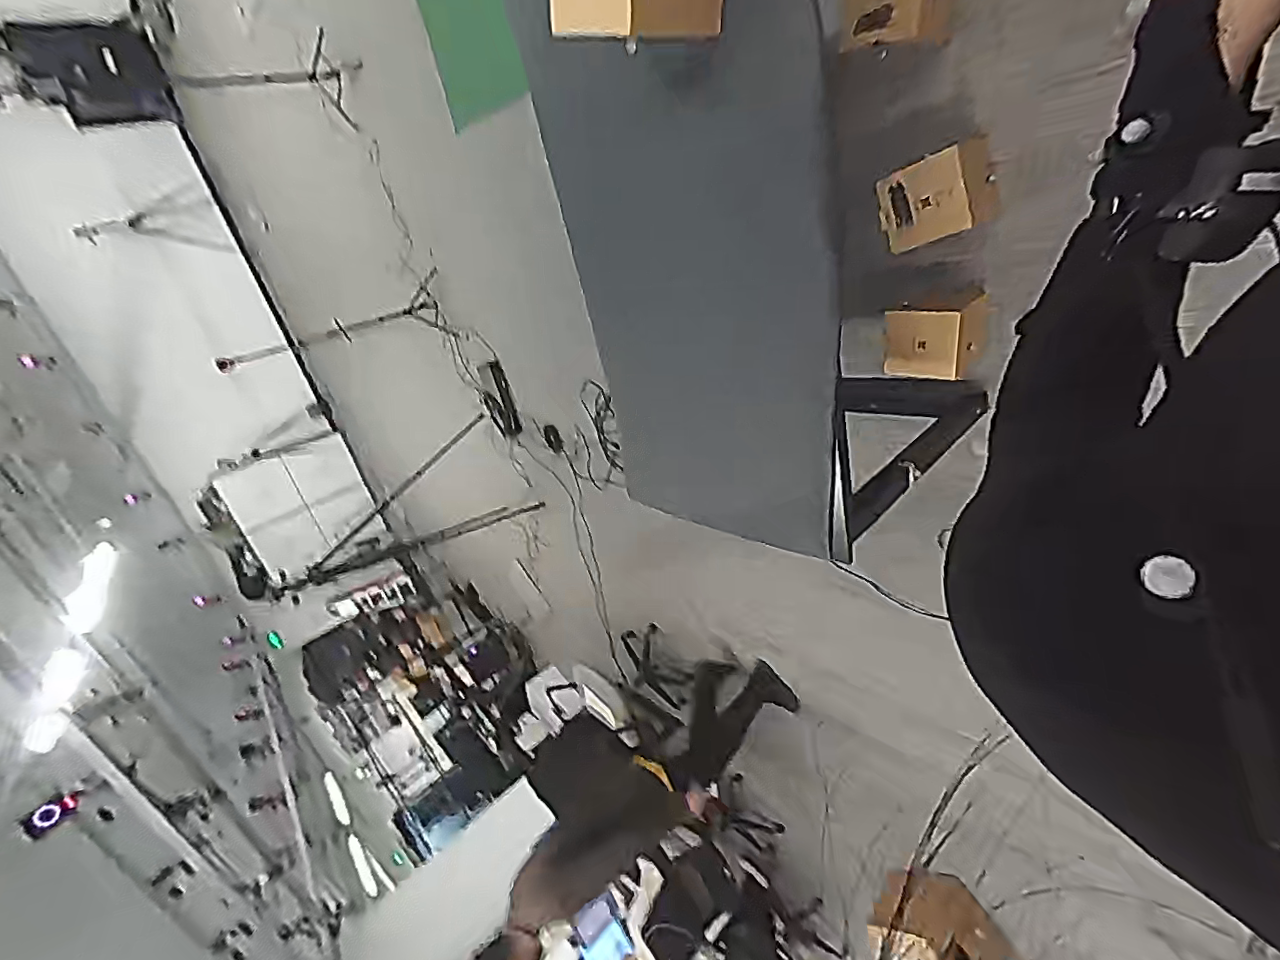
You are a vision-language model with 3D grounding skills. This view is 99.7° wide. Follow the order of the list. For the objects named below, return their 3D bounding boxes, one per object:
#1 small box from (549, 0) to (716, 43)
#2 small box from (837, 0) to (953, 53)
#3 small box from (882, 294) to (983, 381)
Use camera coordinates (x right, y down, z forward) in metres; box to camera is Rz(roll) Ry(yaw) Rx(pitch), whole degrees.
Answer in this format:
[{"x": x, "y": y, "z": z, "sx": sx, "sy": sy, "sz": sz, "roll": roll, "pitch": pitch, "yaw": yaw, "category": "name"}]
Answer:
[{"x": -0.006, "y": -0.680, "z": 0.704, "sx": 0.179, "sy": 0.176, "sz": 0.168, "roll": 36, "pitch": 142, "yaw": 35, "category": "small box"}, {"x": 0.528, "y": -0.988, "z": 1.098, "sx": 0.168, "sy": 0.176, "sz": 0.179, "roll": 27, "pitch": 135, "yaw": 39, "category": "small box"}, {"x": 0.730, "y": -0.360, "z": 1.351, "sx": 0.179, "sy": 0.176, "sz": 0.168, "roll": 19, "pitch": 131, "yaw": 45, "category": "small box"}]
